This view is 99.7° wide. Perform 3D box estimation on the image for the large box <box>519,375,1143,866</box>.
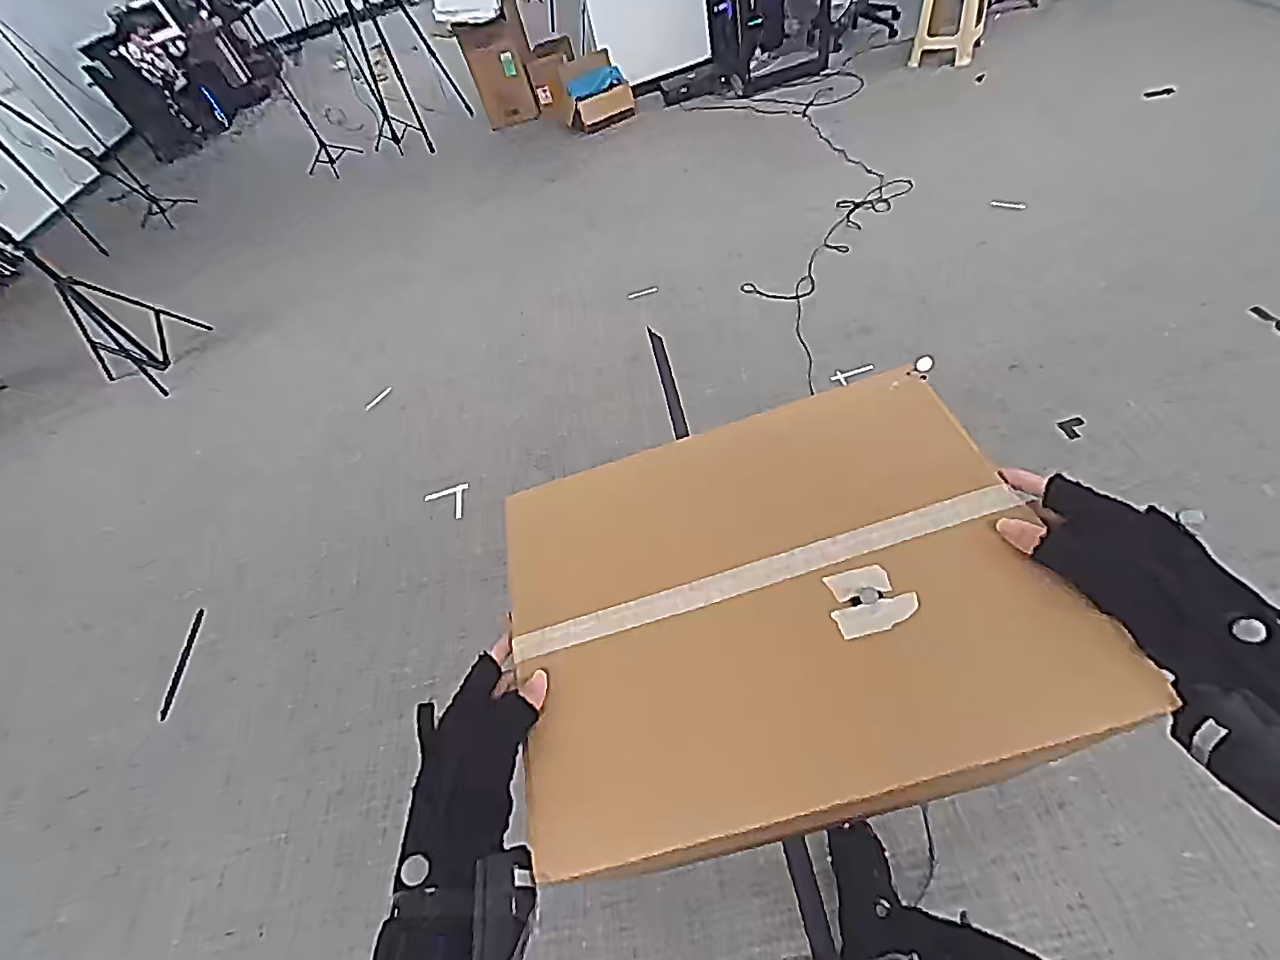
[{"bbox_3d":[0.132,0.160,0.556,0.408,0.320,0.320,-18,53,3],"label":"large box"}]
